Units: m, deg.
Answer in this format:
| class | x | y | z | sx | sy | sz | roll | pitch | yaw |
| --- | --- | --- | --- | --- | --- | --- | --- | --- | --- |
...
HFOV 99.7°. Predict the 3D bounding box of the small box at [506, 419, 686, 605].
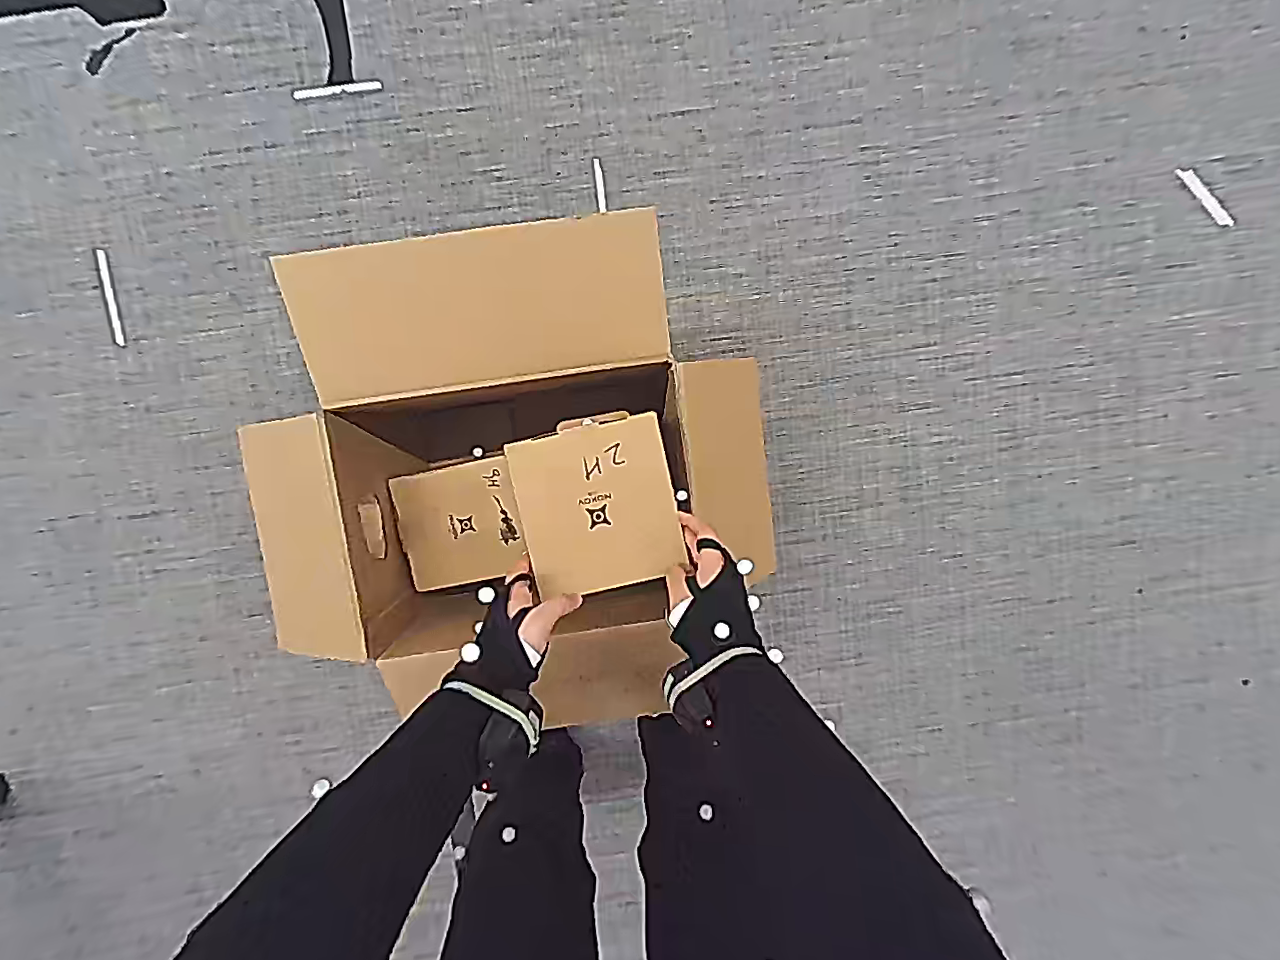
| class | x | y | z | sx | sy | sz | roll | pitch | yaw |
| --- | --- | --- | --- | --- | --- | --- | --- | --- | --- |
| small box | -0.045 | 0.030 | 0.651 | 0.168 | 0.176 | 0.179 | -12 | 92 | 0 |
